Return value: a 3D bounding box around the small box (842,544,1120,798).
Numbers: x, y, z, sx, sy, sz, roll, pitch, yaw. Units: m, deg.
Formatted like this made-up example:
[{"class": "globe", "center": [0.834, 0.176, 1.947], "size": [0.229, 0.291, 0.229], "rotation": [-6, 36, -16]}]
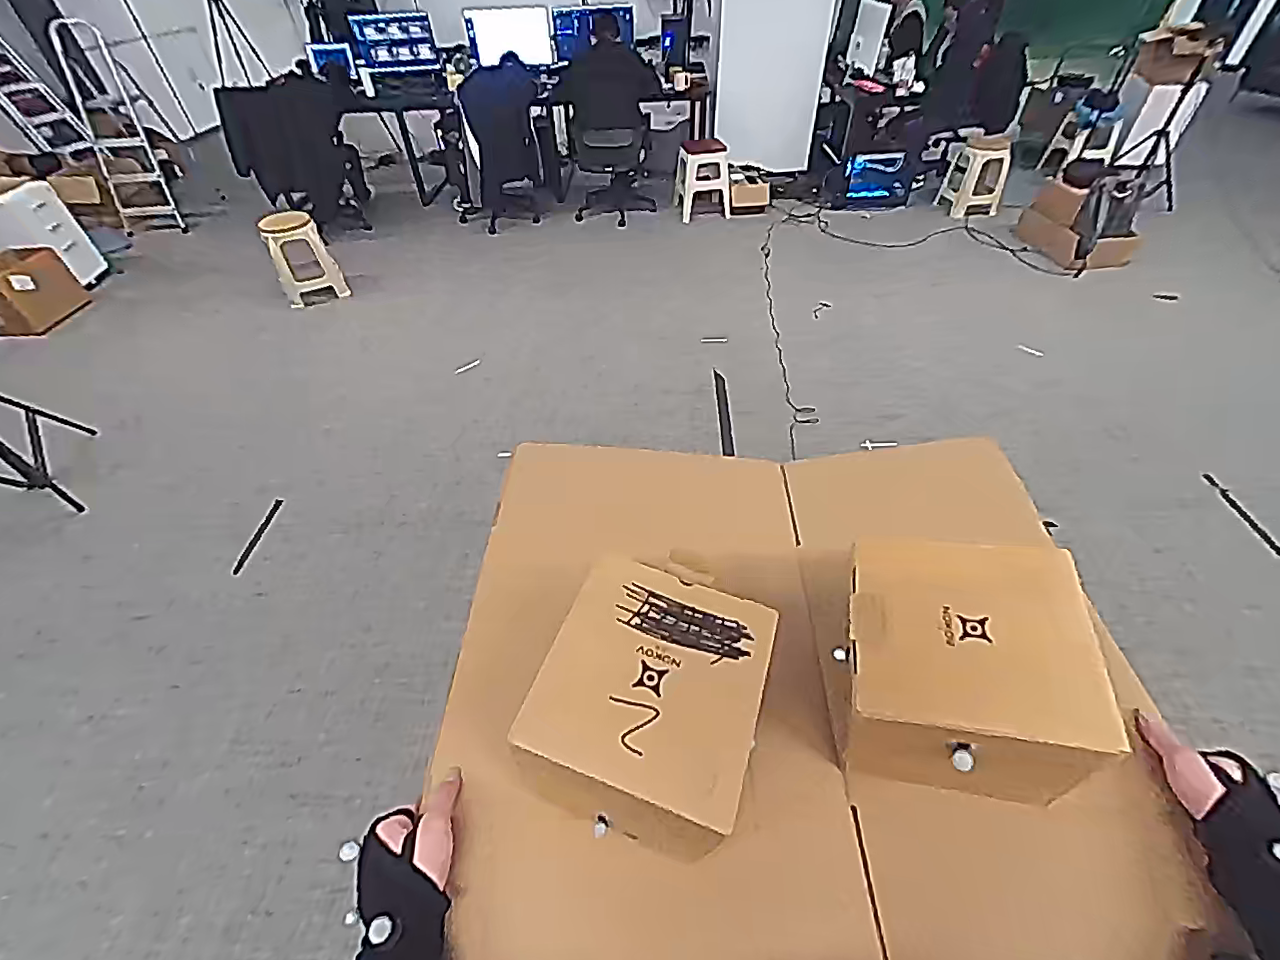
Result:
[{"class": "small box", "center": [0.288, 0.179, 0.507], "size": [0.179, 0.176, 0.168], "rotation": [2, 50, 19]}]
